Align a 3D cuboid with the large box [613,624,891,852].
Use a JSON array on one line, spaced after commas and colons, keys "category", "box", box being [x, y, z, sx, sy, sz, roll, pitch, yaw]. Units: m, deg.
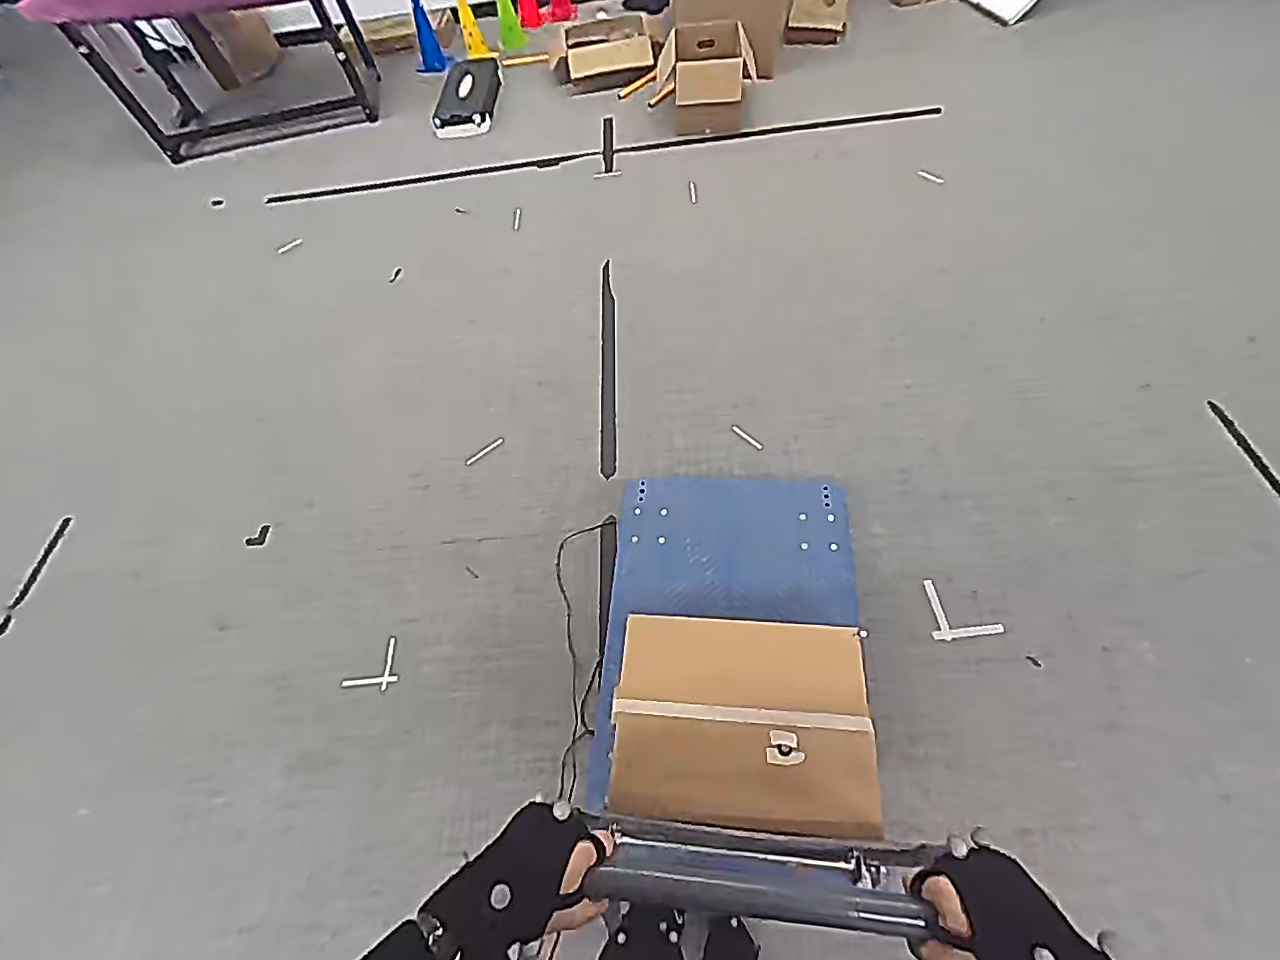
[{"category": "large box", "box": [0.177, 0.468, 0.978, 0.408, 0.320, 0.320, 2, 58, 7]}]
